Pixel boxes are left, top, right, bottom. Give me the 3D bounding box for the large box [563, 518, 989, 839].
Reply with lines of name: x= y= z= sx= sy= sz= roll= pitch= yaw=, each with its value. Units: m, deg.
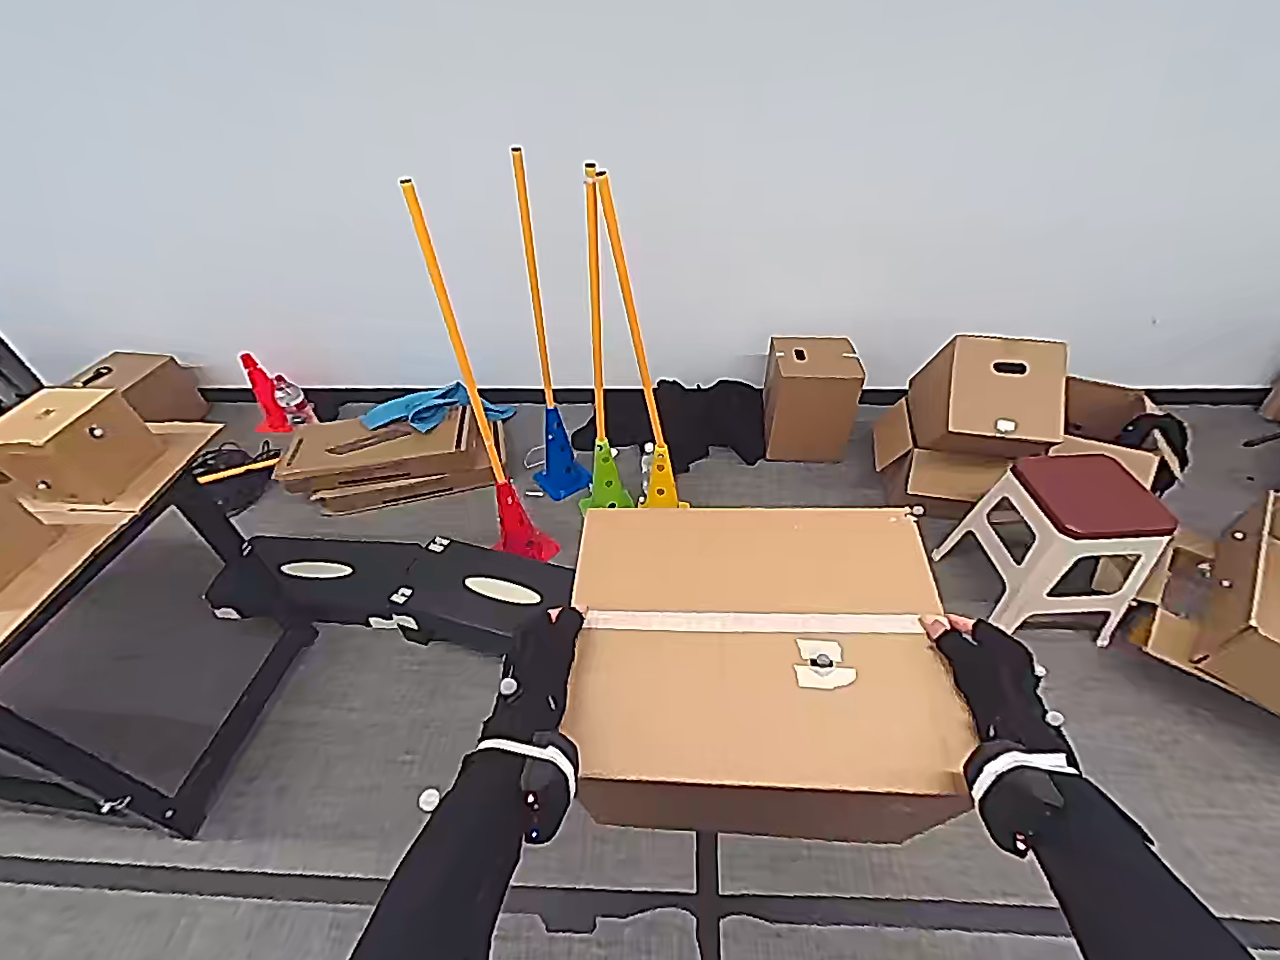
large box: x=0.137 y=0.264 z=0.711 sx=0.408 sy=0.320 sz=0.320 roll=0 pitch=50 yaw=5
